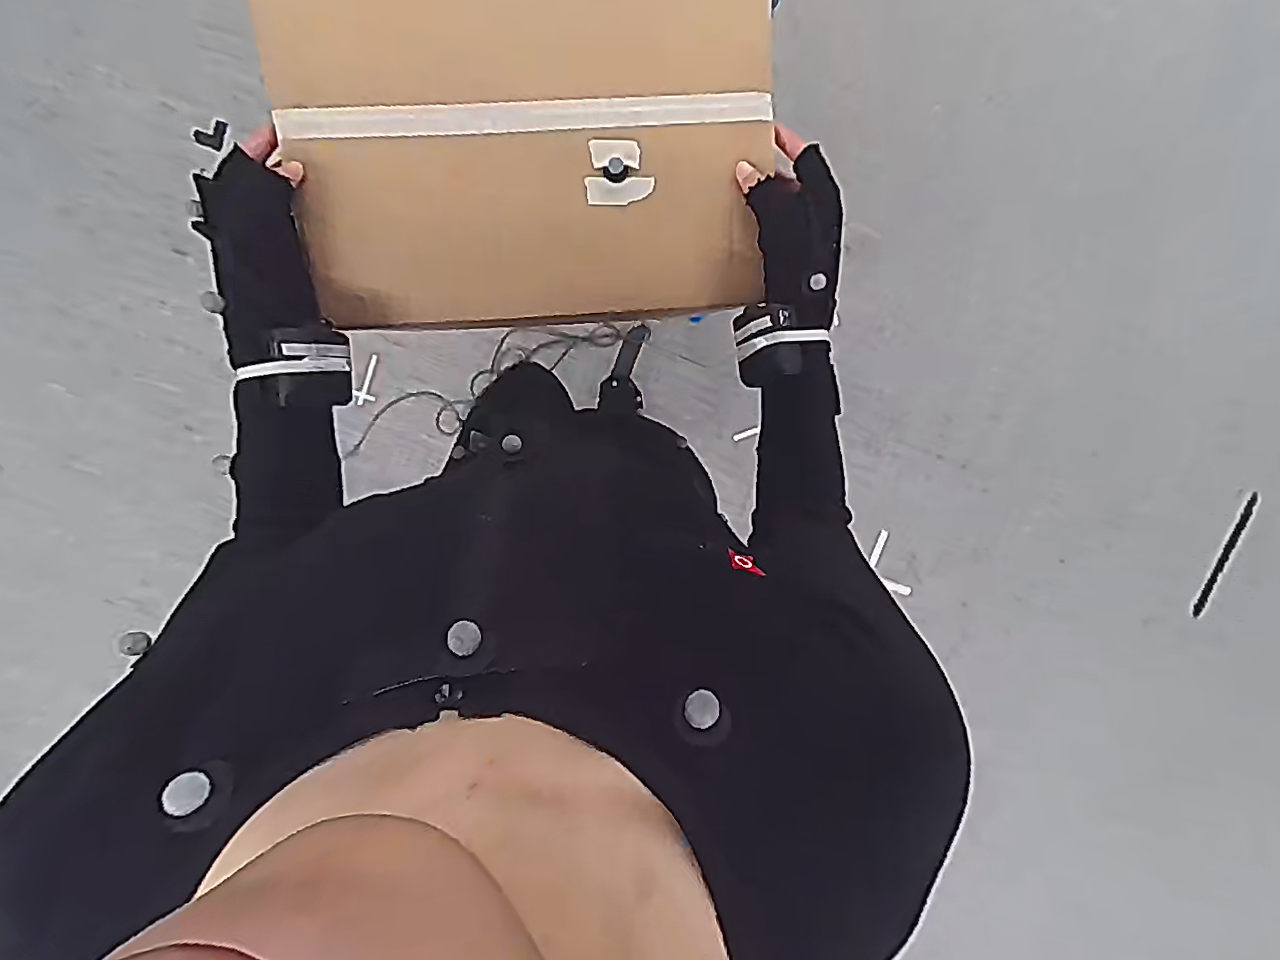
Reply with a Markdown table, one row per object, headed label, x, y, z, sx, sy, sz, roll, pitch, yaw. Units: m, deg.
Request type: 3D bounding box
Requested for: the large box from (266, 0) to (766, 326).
| label | x | y | z | sx | sy | sz | roll | pitch | yaw |
| --- | --- | --- | --- | --- | --- | --- | --- | --- | --- |
| large box | -0.105 | -0.351 | 0.601 | 0.408 | 0.320 | 0.320 | -5 | 106 | -4 |
